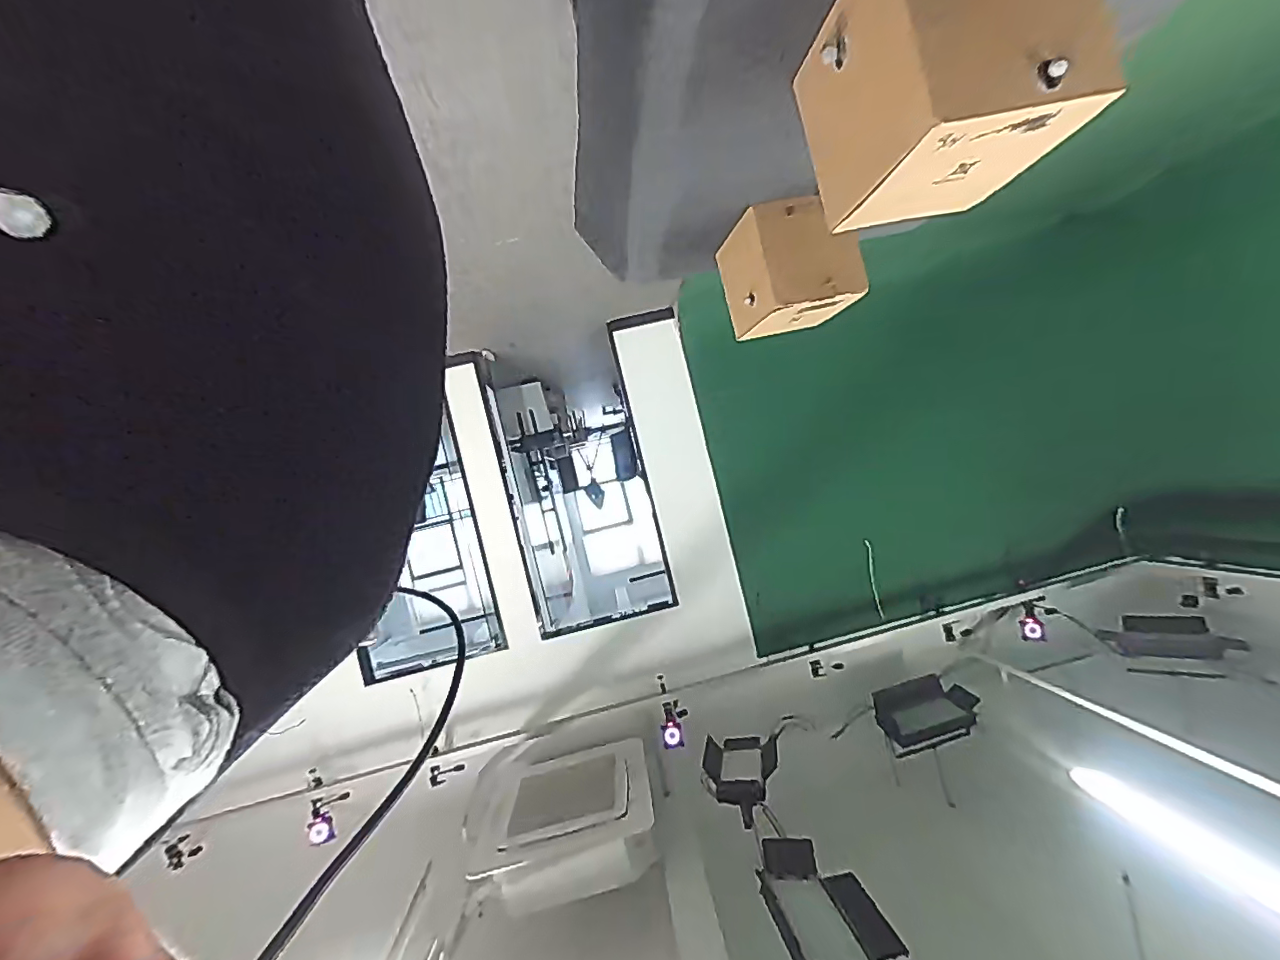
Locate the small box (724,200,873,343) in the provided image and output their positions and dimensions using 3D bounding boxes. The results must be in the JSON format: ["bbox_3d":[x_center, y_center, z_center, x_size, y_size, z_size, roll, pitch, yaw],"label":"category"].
[{"bbox_3d":[0.257,-0.355,0.920,0.168,0.176,0.179,-14,-179,-10],"label":"small box"}]

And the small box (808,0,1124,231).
[{"bbox_3d":[0.269,-0.359,0.488,0.168,0.176,0.179,-15,-179,-6],"label":"small box"}]
